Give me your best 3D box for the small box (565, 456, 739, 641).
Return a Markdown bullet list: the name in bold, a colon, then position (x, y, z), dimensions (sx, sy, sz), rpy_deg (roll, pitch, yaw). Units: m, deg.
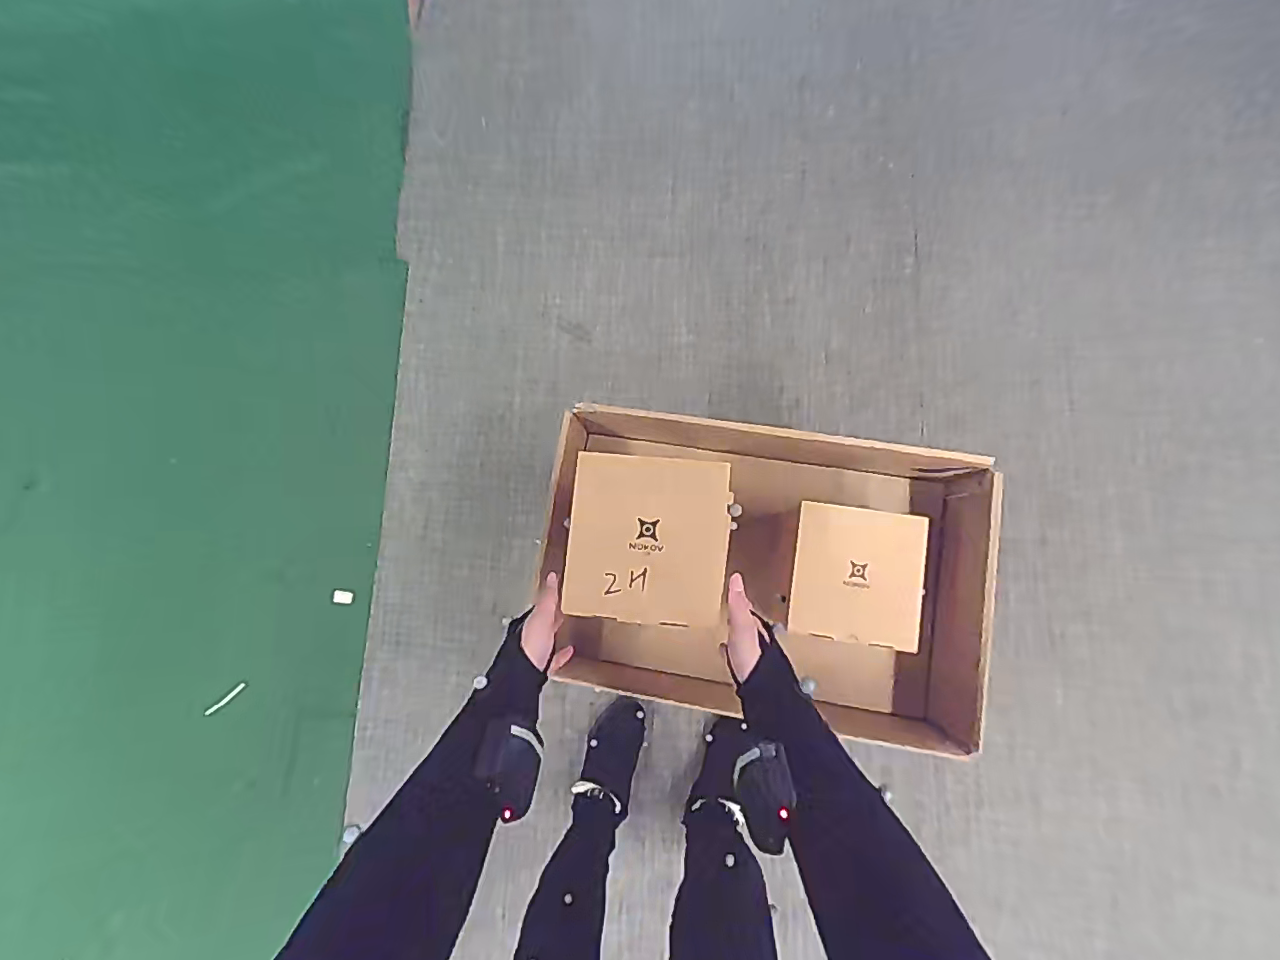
- **small box**: position (0.017, 0.079, 0.636), dimensions (0.168, 0.176, 0.179), rpy_deg (6, 83, 5)
